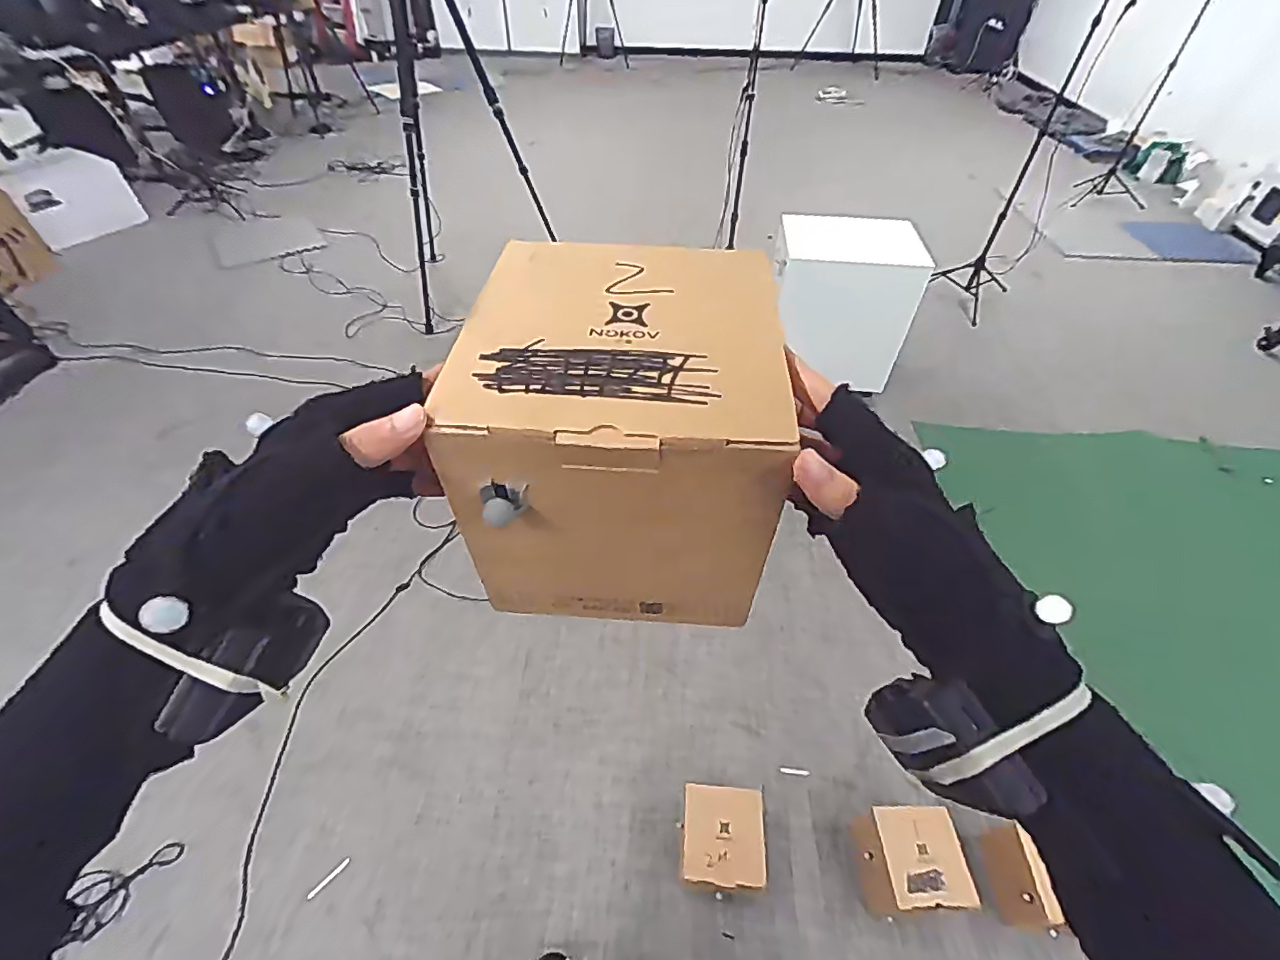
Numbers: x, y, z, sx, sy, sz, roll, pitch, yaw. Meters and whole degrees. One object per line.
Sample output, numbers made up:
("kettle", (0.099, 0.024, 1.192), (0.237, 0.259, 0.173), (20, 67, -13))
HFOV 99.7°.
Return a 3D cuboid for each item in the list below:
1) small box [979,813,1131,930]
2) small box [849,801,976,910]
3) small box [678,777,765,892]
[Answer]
("small box", (0.865, 0.834, 1.152), (0.168, 0.176, 0.179), (3, 48, 2))
("small box", (0.573, 0.810, 1.164), (0.168, 0.176, 0.179), (1, 47, -1))
("small box", (0.172, 0.775, 1.181), (0.168, 0.176, 0.179), (4, 48, 3))
